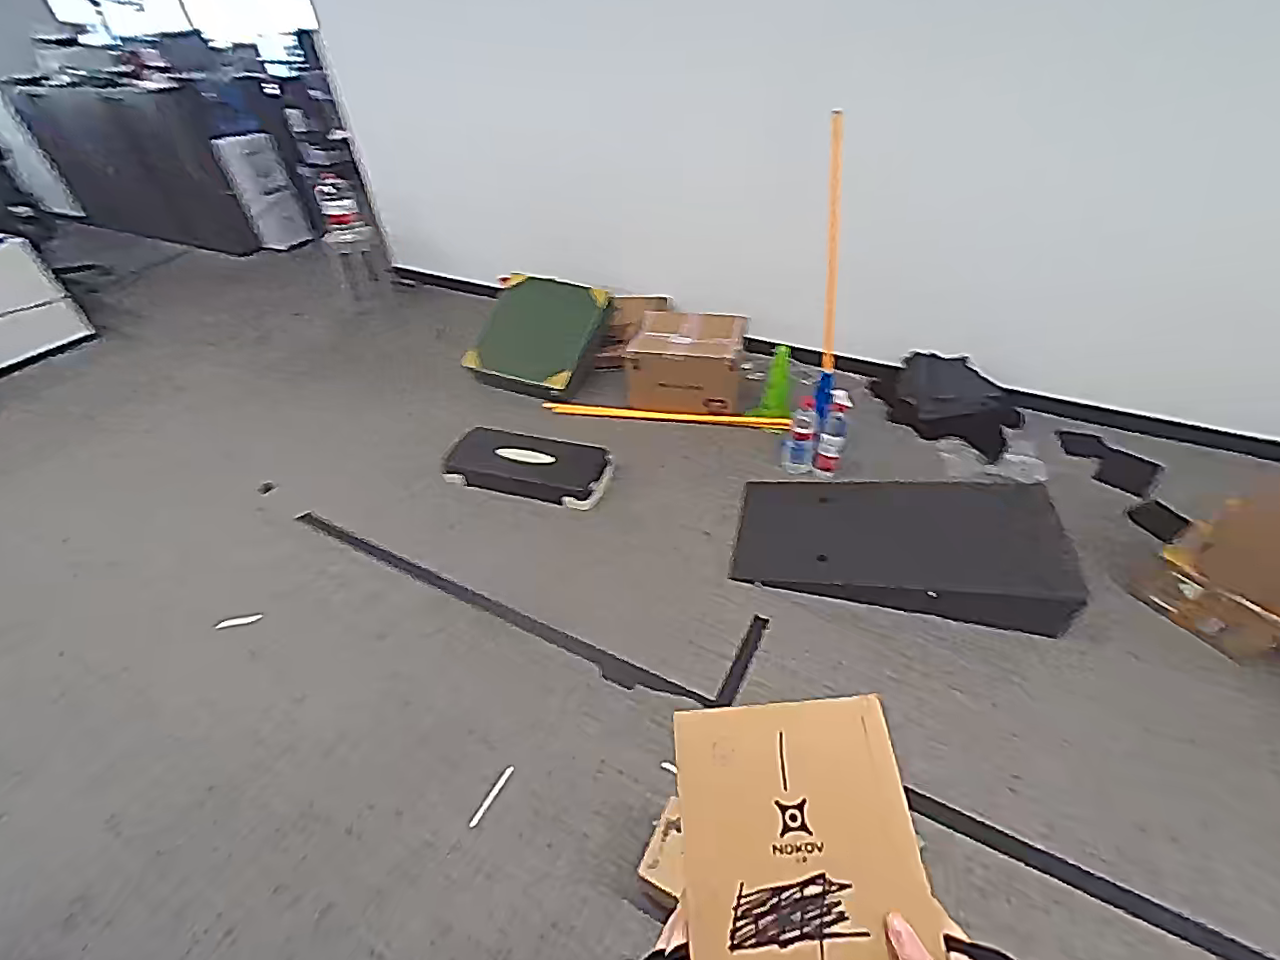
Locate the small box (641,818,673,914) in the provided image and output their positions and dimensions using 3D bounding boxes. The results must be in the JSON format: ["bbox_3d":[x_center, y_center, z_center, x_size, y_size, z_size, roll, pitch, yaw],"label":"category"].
[{"bbox_3d":[0.117,0.827,1.152,0.179,0.176,0.168,19,47,22],"label":"small box"}]

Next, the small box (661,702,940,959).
[{"bbox_3d":[0.116,0.294,0.439,0.168,0.176,0.179,-9,56,7],"label":"small box"}]
